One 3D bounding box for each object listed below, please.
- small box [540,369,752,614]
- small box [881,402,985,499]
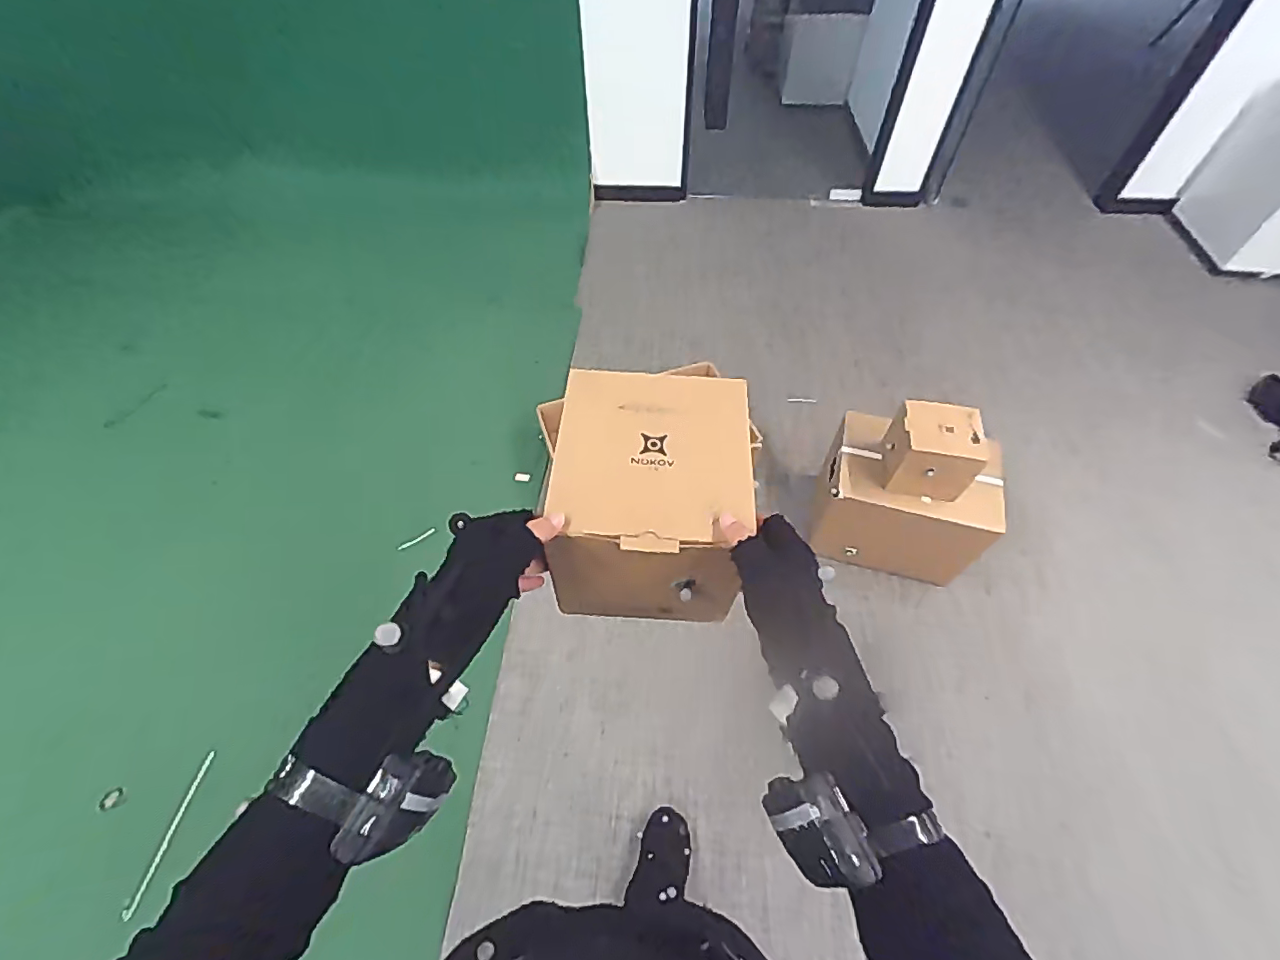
[{"bbox_3d":[0.007,0.017,0.523,0.168,0.176,0.179,3,54,0],"label":"small box"},{"bbox_3d":[0.711,-0.070,1.338,0.179,0.176,0.168,9,55,7],"label":"small box"}]
